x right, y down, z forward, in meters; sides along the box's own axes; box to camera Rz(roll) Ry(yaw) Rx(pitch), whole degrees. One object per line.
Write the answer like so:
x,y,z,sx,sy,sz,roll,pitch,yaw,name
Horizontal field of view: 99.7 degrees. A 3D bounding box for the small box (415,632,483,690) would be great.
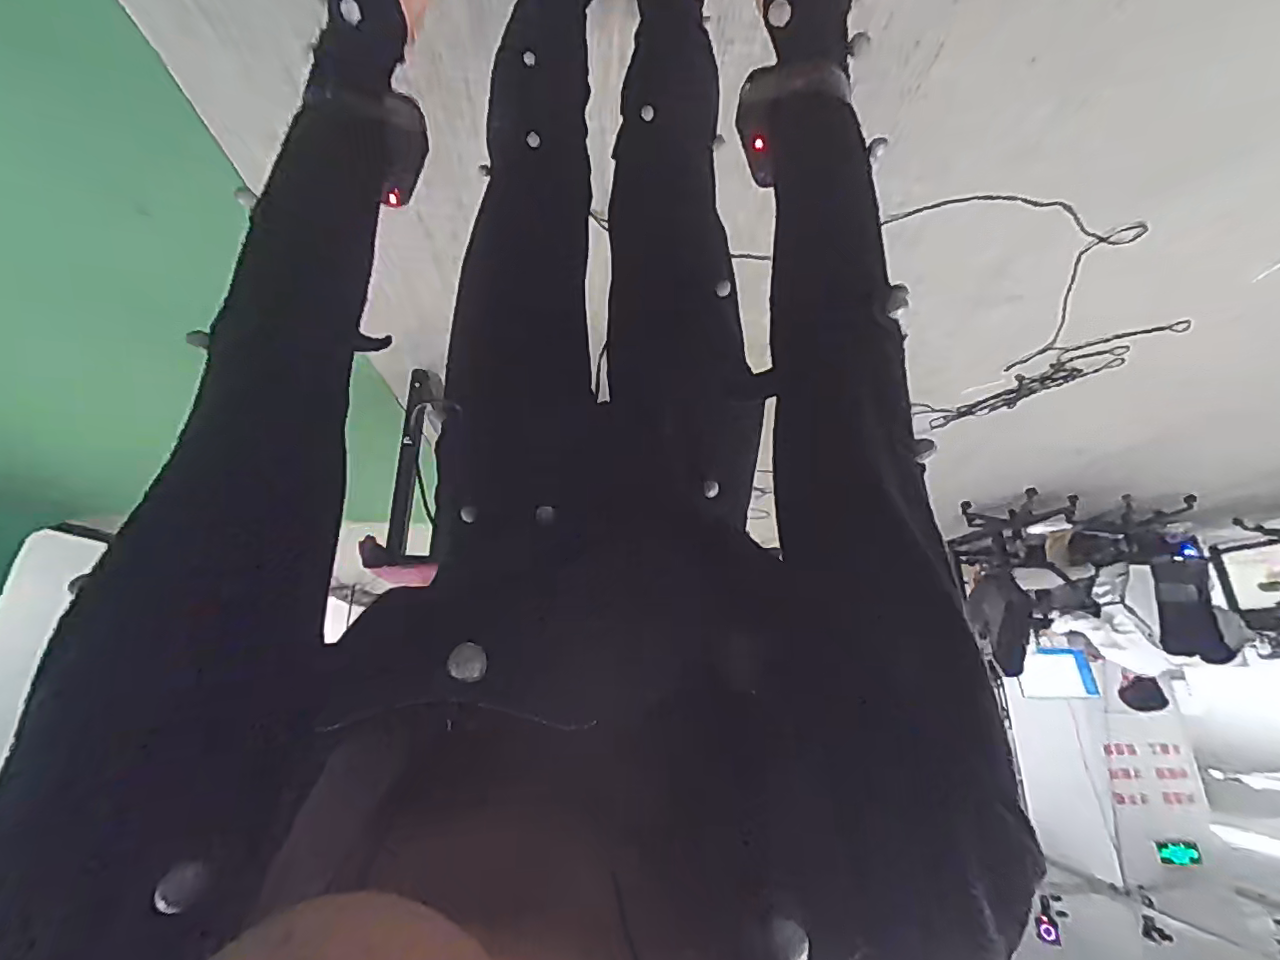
-0.600,0.573,1.720,0.168,0.176,0.179,0,161,-5,small box
